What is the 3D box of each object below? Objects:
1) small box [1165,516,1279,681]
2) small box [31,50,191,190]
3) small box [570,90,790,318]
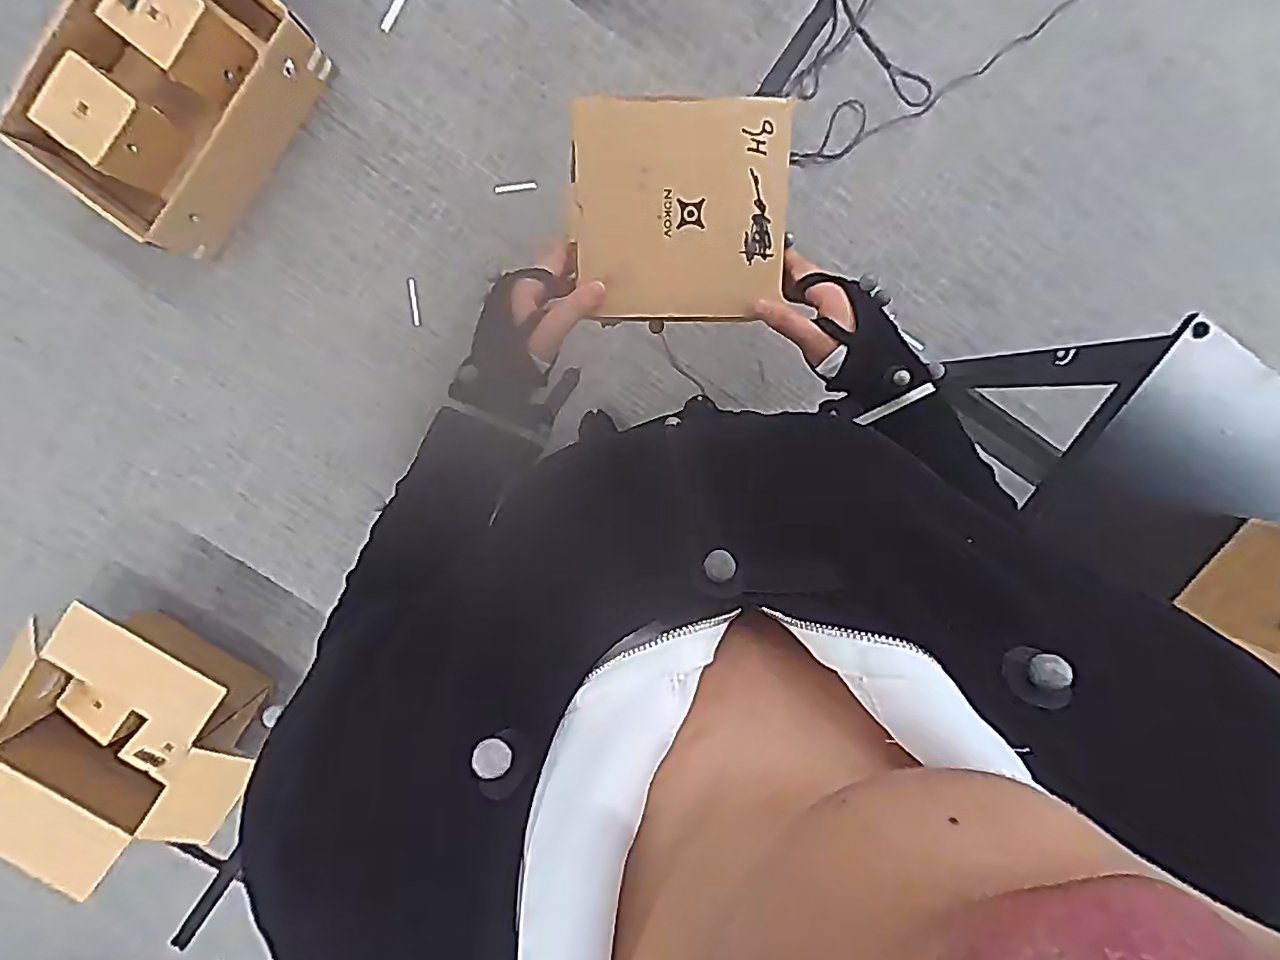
[{"bbox_3d":[0.881,0.170,0.719,0.168,0.176,0.179,35,97,-5],"label":"small box"},{"bbox_3d":[-1.205,-0.814,1.248,0.168,0.176,0.179,39,95,-8],"label":"small box"},{"bbox_3d":[0.032,-0.246,0.523,0.179,0.176,0.168,0,105,0],"label":"small box"}]
